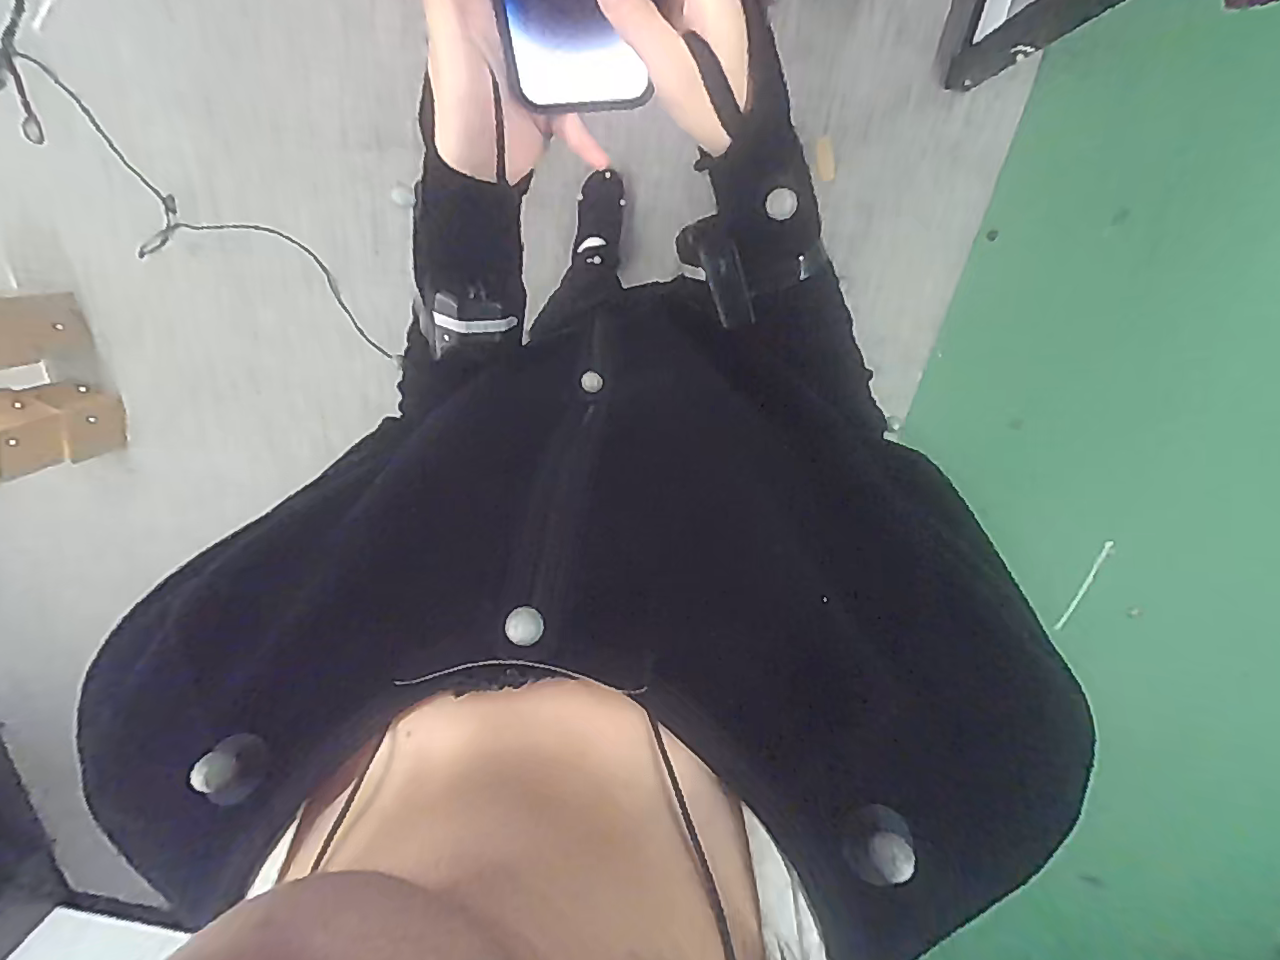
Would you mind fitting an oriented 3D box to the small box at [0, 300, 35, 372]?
[{"bbox_3d":[-1.694,-0.351,1.343,0.168,0.176,0.179,-1,114,6],"label":"small box"}]

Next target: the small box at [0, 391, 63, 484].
[{"bbox_3d":[-1.717,-0.114,1.453,0.168,0.176,0.179,26,113,-5],"label":"small box"}]

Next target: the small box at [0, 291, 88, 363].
[{"bbox_3d":[-1.689,-0.425,1.488,0.179,0.176,0.168,4,114,5],"label":"small box"}]
